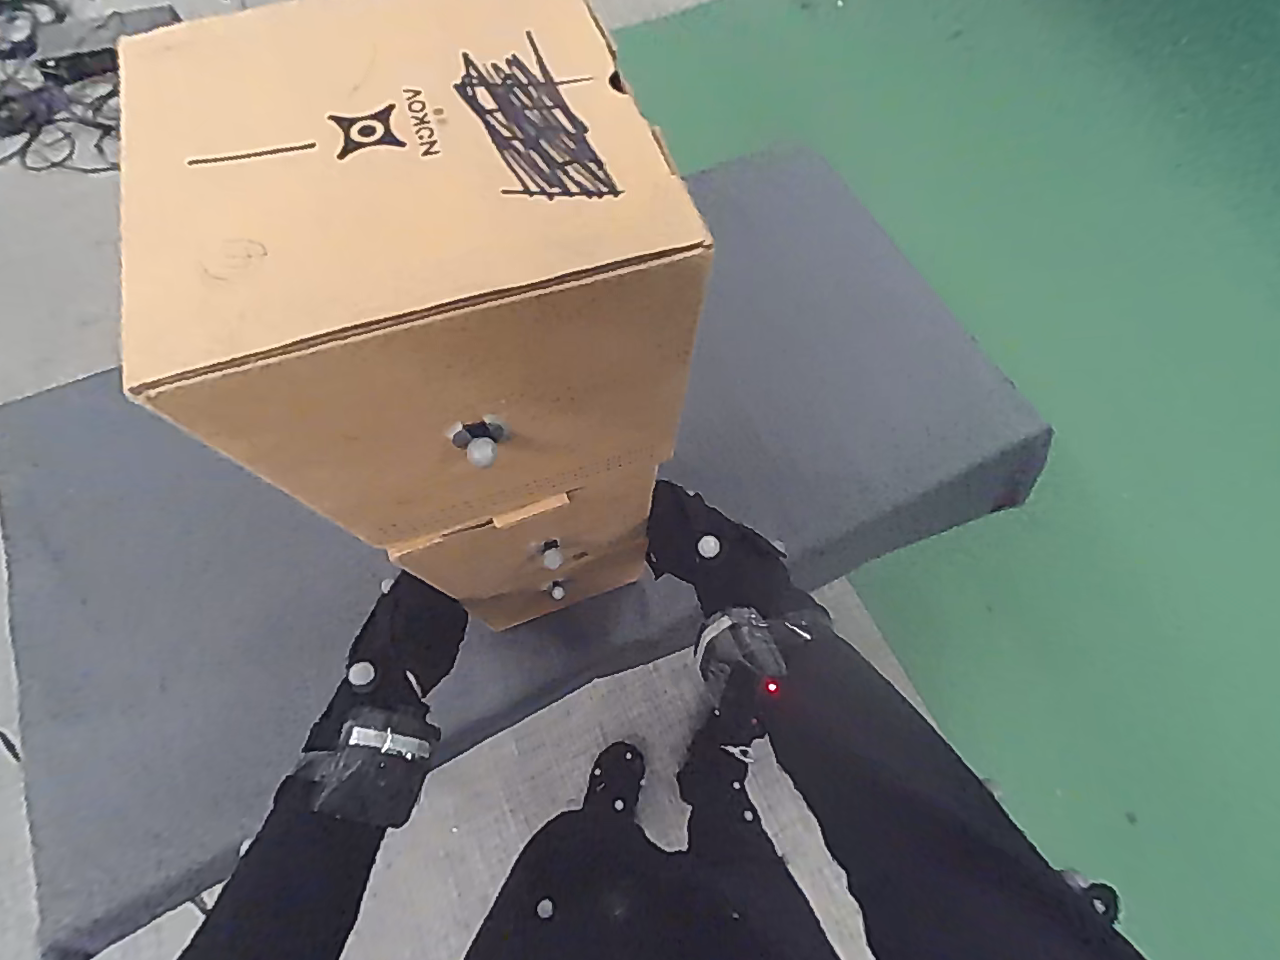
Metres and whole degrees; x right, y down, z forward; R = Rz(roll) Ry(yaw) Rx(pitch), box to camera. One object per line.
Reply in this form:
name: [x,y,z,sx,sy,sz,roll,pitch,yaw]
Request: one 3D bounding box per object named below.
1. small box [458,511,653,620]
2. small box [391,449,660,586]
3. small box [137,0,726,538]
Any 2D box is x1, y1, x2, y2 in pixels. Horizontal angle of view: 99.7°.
small box: [-0.099,0.034,0.565,0.179,0.176,0.168,-18,71,-12]
small box: [-0.094,-0.030,0.414,0.168,0.176,0.179,-20,71,-10]
small box: [-0.081,-0.089,0.260,0.179,0.176,0.168,-17,70,-8]
